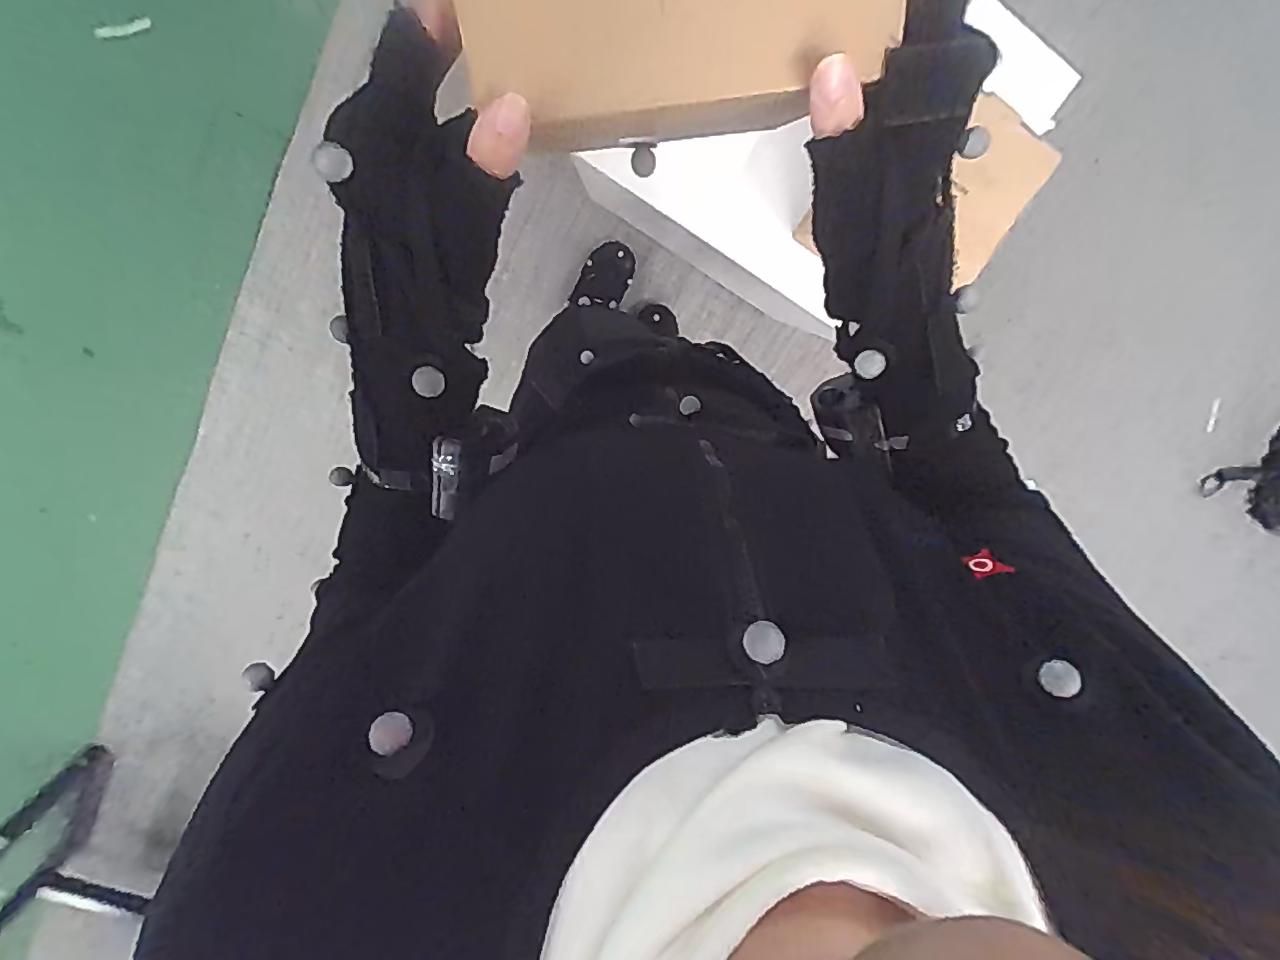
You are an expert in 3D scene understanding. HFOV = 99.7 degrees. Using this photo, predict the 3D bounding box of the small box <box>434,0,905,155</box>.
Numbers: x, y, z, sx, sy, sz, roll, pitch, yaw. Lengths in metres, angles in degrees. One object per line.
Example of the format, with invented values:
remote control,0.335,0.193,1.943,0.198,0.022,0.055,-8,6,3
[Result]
small box,0.000,-0.254,0.230,0.168,0.176,0.179,-8,118,0

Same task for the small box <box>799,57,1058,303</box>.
small box,0.316,-0.332,0.637,0.168,0.176,0.179,28,107,-11
